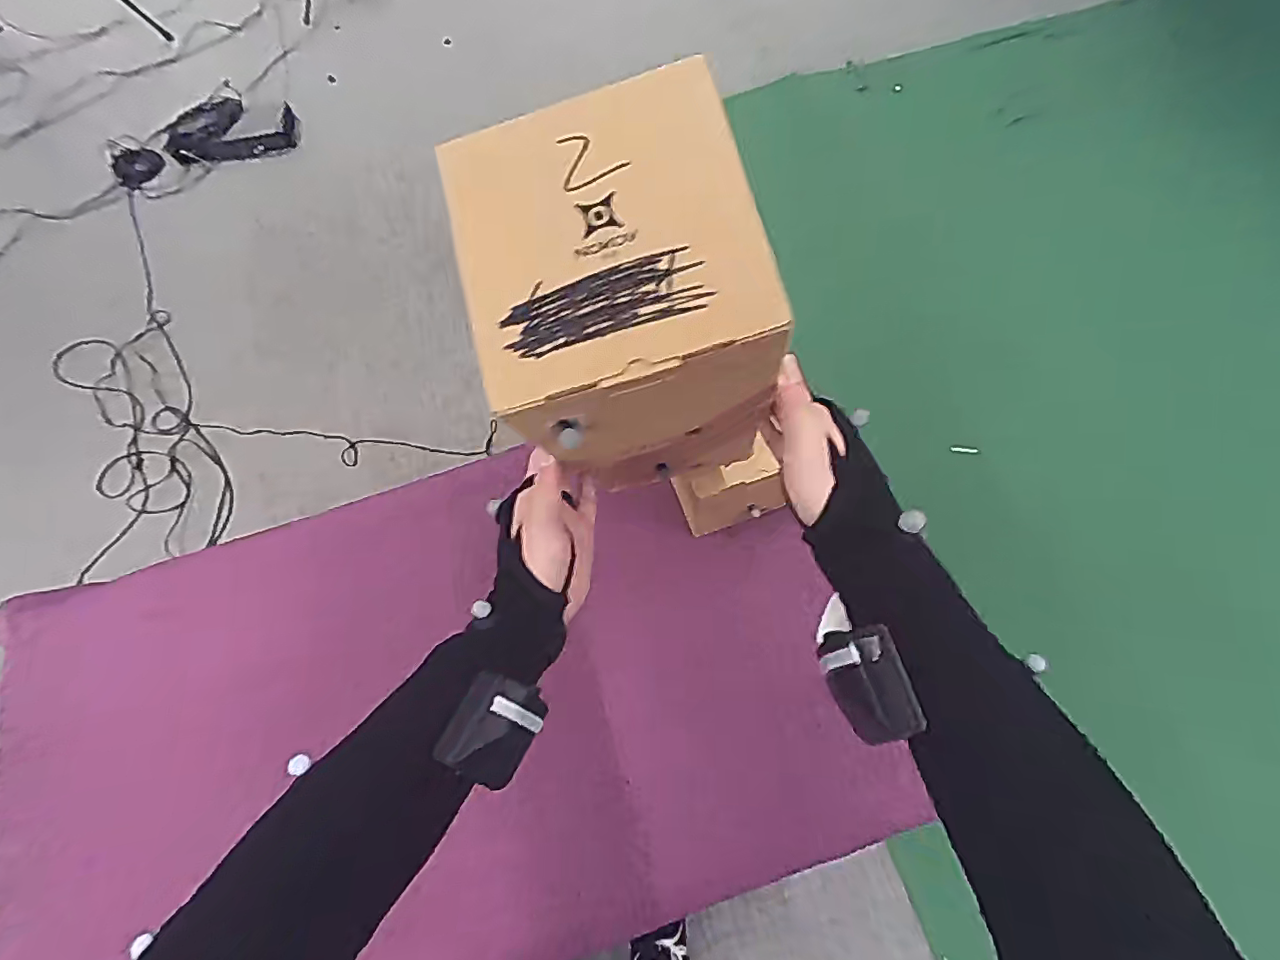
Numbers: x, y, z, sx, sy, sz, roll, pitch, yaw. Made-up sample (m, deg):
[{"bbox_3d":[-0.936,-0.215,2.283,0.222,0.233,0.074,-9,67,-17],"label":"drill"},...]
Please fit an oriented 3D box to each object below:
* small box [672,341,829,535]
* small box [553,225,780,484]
[{"bbox_3d":[0.123,-0.049,0.728,0.168,0.176,0.179,-19,68,-3],"label":"small box"},{"bbox_3d":[0.027,-0.106,0.532,0.168,0.176,0.179,-13,79,5],"label":"small box"}]
